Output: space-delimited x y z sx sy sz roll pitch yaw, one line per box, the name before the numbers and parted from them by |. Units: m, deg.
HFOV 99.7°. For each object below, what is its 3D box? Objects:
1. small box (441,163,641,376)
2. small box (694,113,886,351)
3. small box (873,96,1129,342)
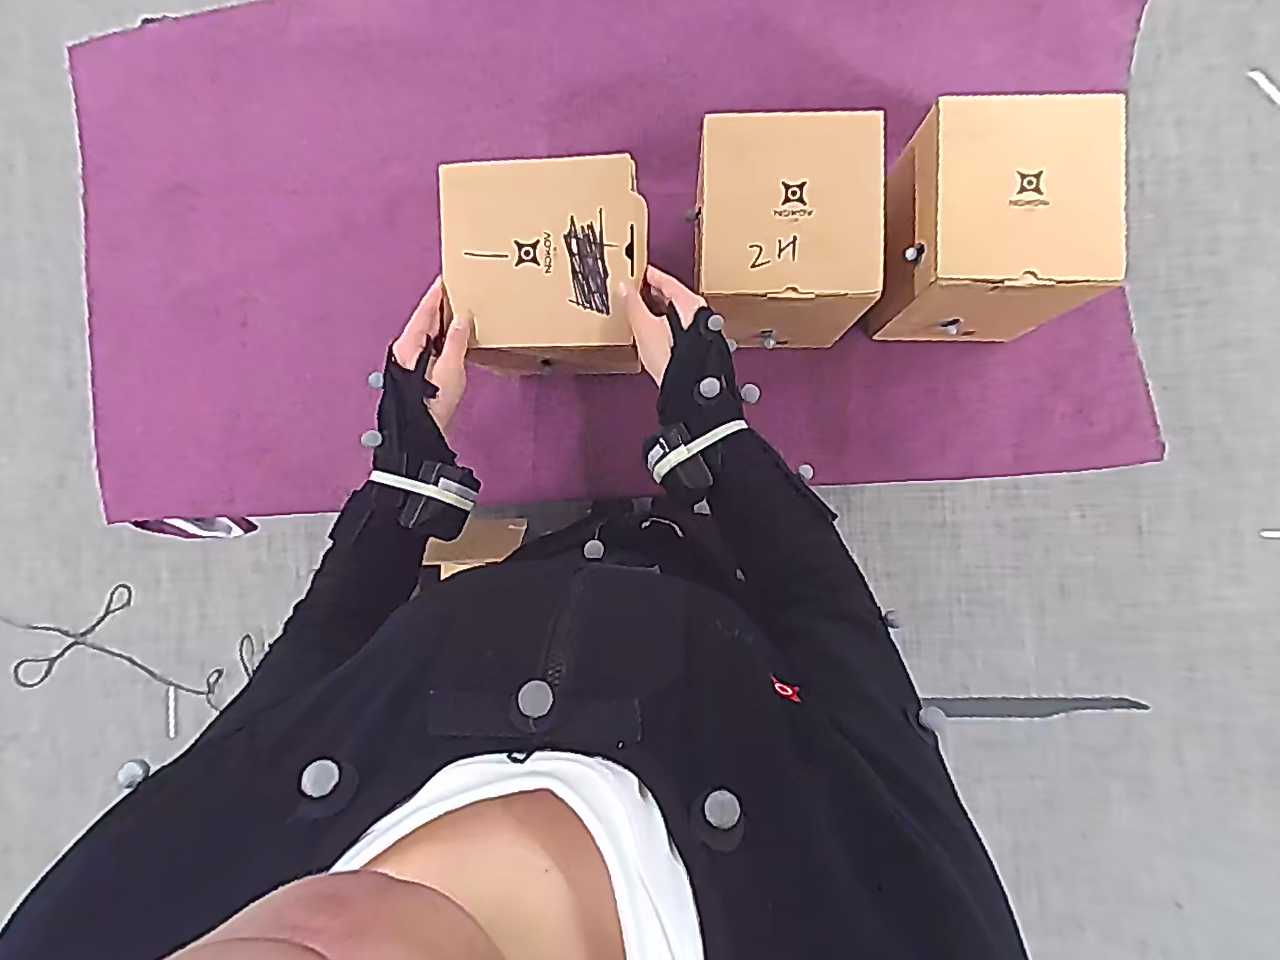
small box | -0.088 -0.203 0.562 0.179 0.176 0.168 0 93 3
small box | 0.145 -0.250 0.577 0.168 0.176 0.179 2 88 3
small box | 0.356 -0.257 0.565 0.168 0.176 0.179 2 88 4
